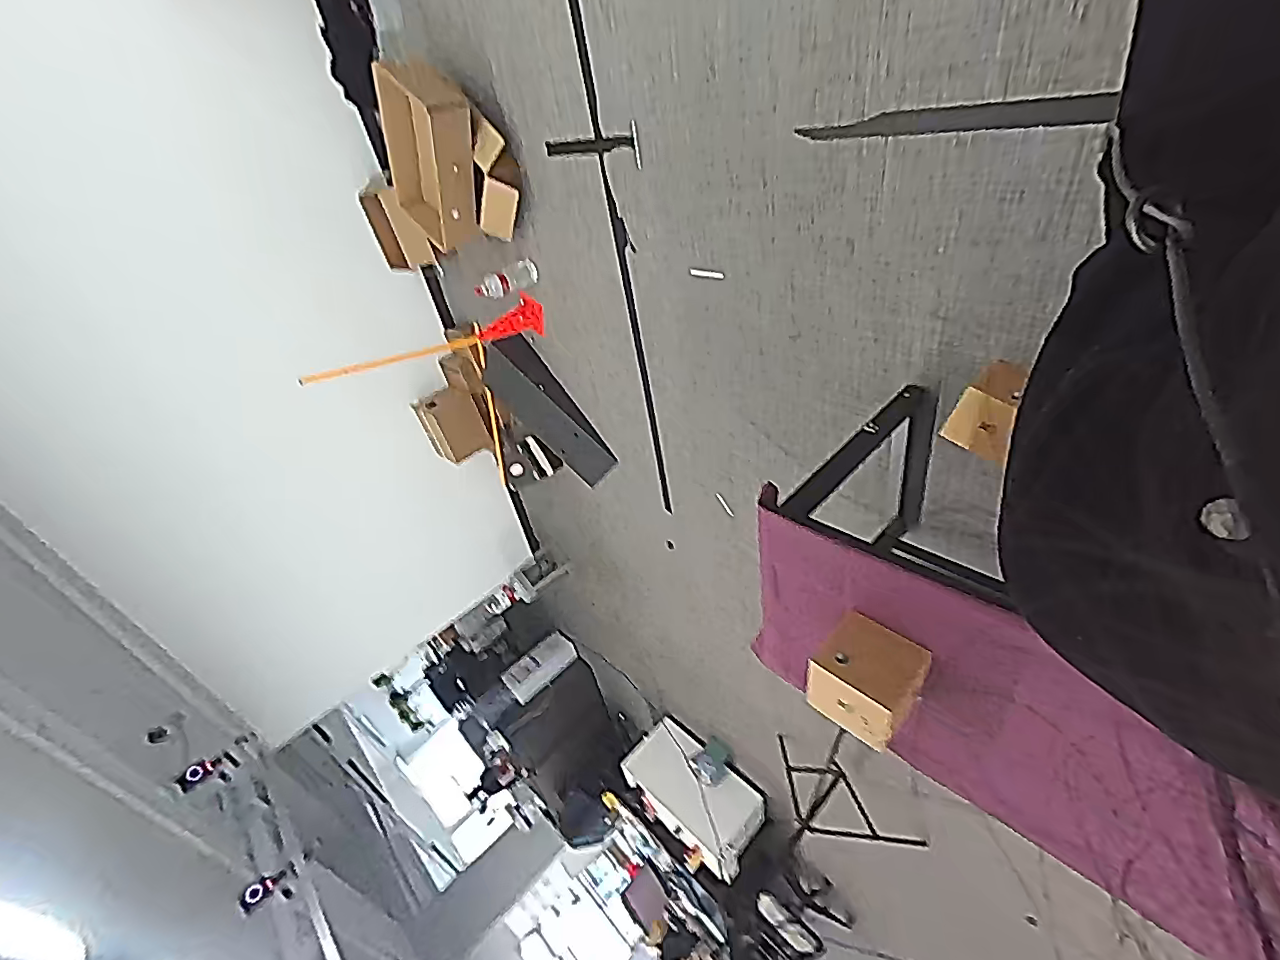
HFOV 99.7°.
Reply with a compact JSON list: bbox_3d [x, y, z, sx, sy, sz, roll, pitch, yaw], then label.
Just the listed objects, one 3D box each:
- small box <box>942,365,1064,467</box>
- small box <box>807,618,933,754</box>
[{"bbox_3d":[0.918,-0.170,1.370,0.179,0.176,0.168,37,145,26],"label":"small box"},{"bbox_3d":[0.474,0.417,1.128,0.179,0.176,0.168,27,142,38],"label":"small box"}]
